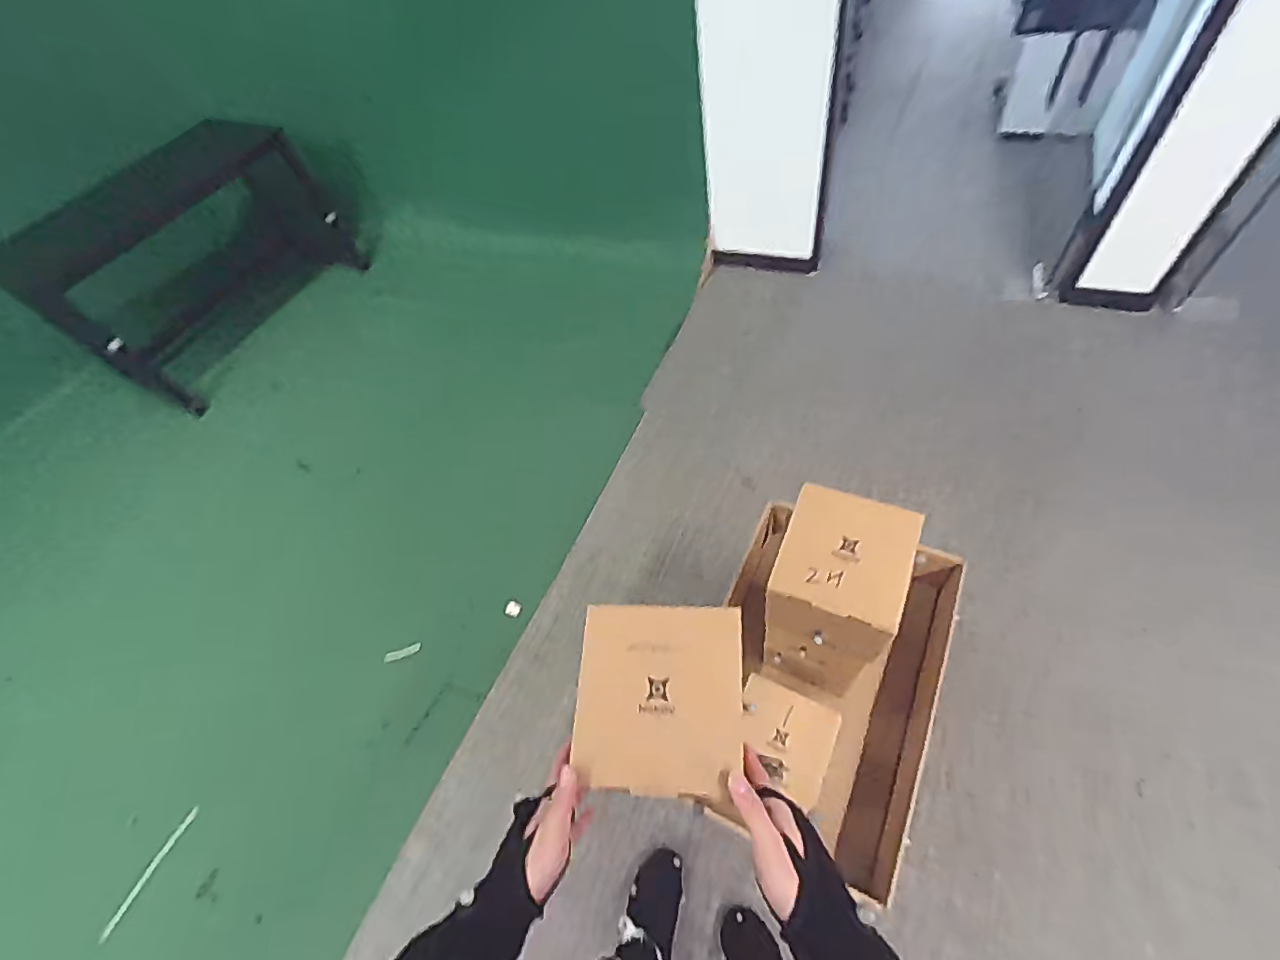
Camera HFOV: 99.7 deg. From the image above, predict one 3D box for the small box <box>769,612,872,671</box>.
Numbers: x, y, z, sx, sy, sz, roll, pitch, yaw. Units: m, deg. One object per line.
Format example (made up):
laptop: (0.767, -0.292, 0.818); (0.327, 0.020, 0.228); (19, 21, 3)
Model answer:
small box: (0.326, 0.200, 0.930); (0.168, 0.176, 0.179); (19, 65, 22)

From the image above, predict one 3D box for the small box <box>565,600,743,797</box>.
small box: (0.028, 0.242, 0.600); (0.168, 0.176, 0.179); (-2, 61, 11)

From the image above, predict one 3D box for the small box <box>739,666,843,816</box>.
small box: (0.245, 0.468, 0.961); (0.168, 0.176, 0.179); (19, 61, 22)

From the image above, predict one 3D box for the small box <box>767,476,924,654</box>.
small box: (0.289, 0.126, 0.787); (0.168, 0.176, 0.179); (17, 65, 22)
